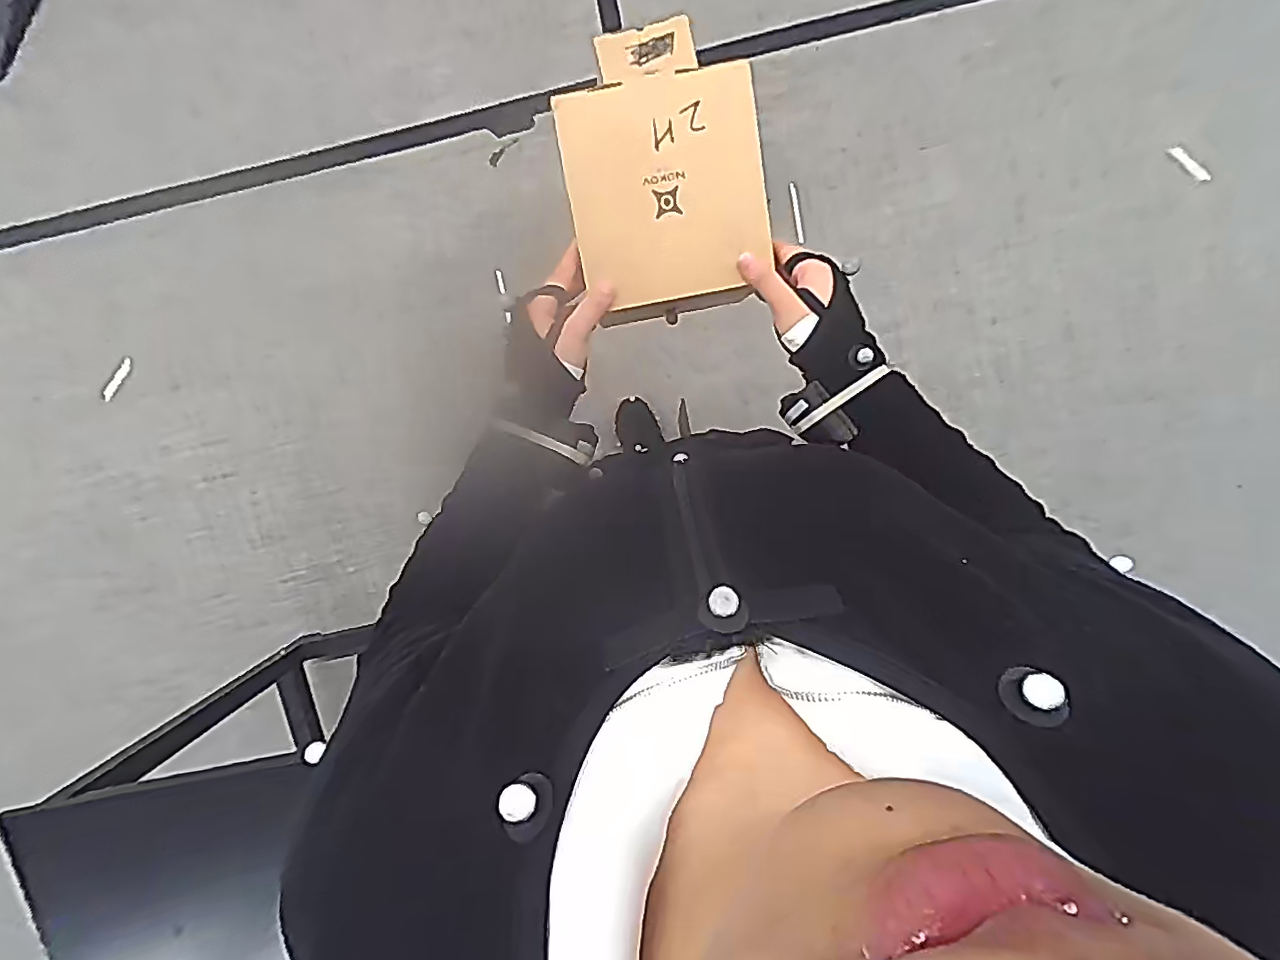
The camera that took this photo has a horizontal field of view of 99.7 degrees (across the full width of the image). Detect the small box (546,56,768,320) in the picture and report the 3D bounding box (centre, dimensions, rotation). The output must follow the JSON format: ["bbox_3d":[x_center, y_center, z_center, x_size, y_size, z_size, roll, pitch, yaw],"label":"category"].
[{"bbox_3d":[0.018,-0.261,0.532,0.168,0.176,0.179,-11,101,2],"label":"small box"}]

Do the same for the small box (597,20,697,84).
[{"bbox_3d":[0.022,-0.690,1.008,0.168,0.176,0.179,-14,97,2],"label":"small box"}]
